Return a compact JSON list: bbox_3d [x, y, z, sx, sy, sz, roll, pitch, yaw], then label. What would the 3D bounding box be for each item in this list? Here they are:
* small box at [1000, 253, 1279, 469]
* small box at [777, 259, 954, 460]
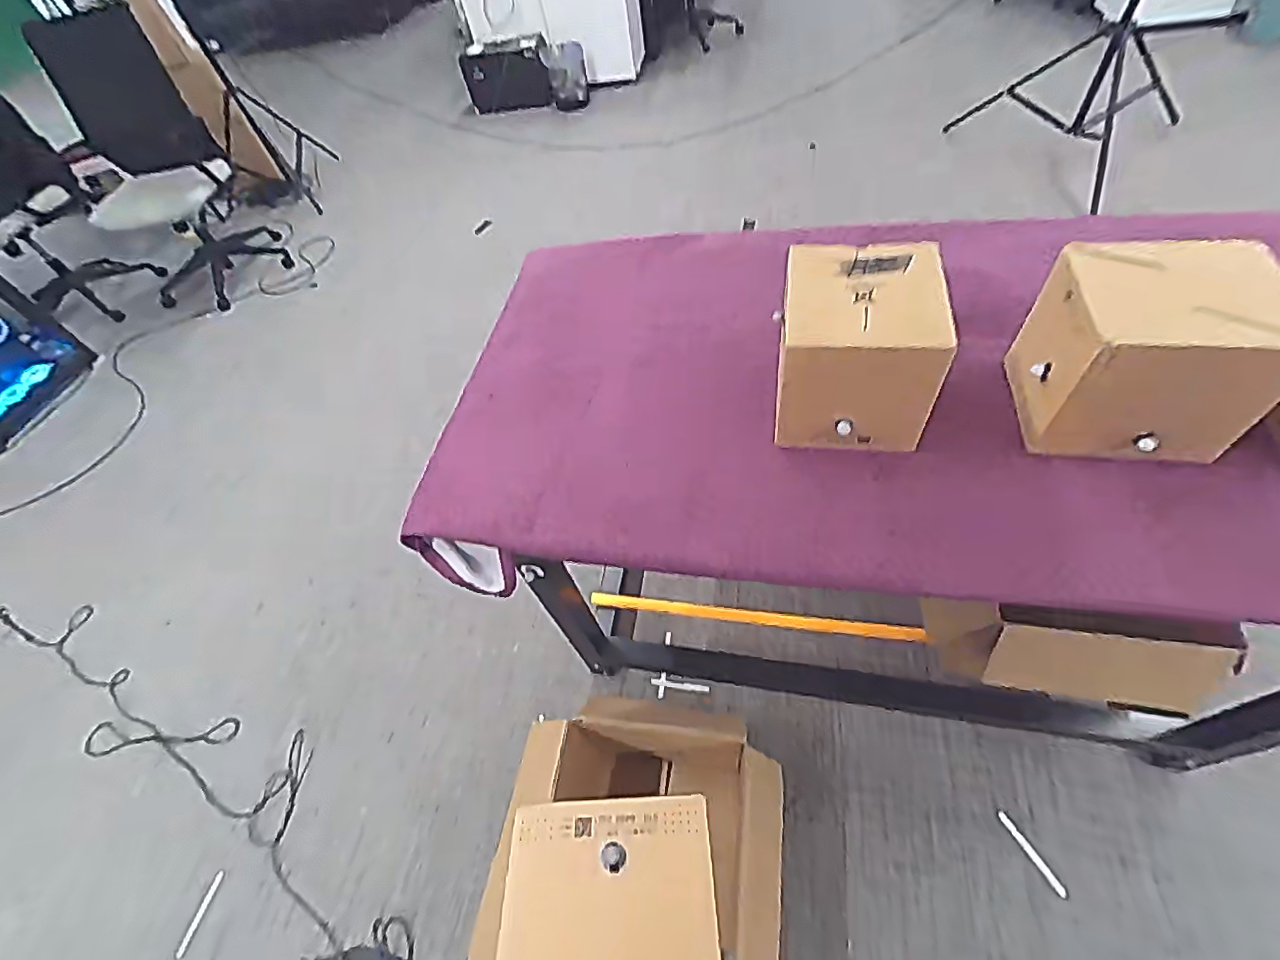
[{"bbox_3d":[0.540,-0.132,0.598,0.179,0.176,0.168,4,53,14],"label":"small box"},{"bbox_3d":[0.260,-0.148,0.665,0.168,0.176,0.179,4,55,13],"label":"small box"}]
